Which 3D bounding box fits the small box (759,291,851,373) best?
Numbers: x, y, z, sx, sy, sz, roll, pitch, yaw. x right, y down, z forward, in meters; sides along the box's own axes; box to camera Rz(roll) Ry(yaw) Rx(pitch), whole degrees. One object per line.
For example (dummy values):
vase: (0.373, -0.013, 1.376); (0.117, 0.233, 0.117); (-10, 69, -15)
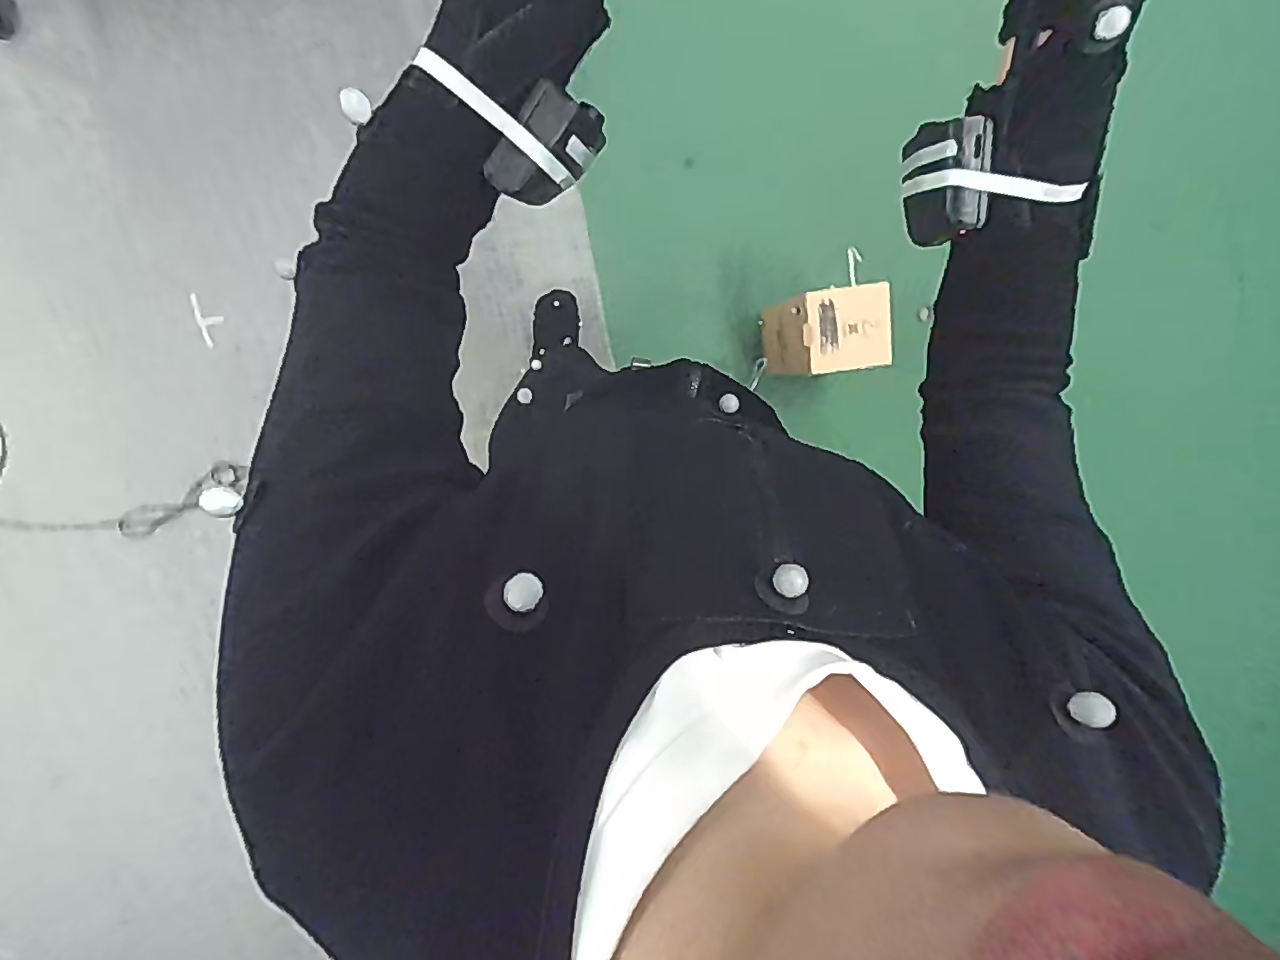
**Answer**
small box: (0.402, -0.360, 1.345); (0.179, 0.176, 0.168); (-10, 102, 0)
